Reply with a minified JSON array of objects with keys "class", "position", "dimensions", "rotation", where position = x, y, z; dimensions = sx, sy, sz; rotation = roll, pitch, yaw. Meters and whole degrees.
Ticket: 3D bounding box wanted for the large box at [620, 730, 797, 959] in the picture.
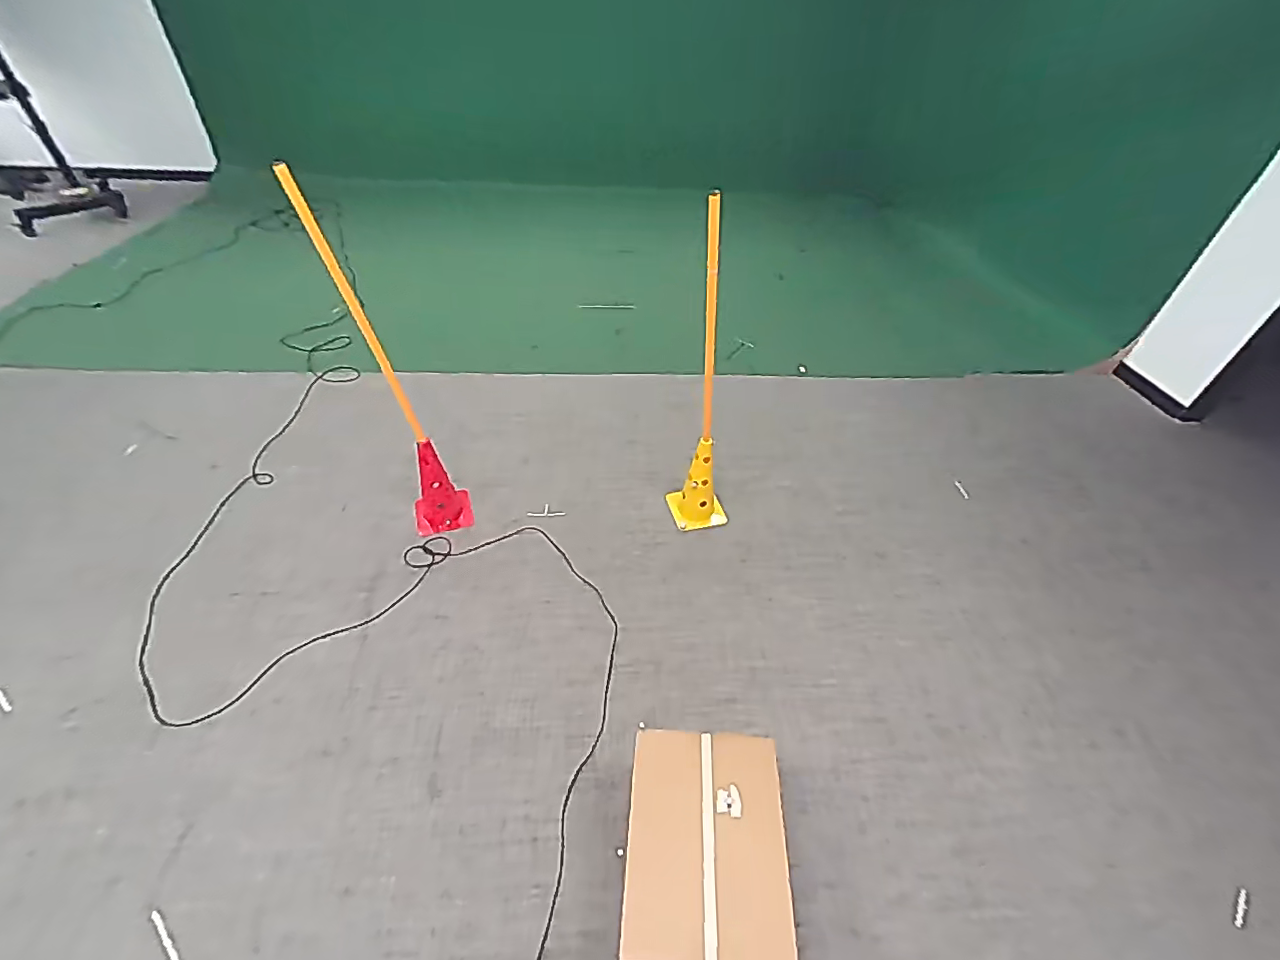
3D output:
[{"class":"large box","position":[0.125,0.818,1.168],"dimensions":[0.320,0.320,0.408],"rotation":[5,42,1]}]
